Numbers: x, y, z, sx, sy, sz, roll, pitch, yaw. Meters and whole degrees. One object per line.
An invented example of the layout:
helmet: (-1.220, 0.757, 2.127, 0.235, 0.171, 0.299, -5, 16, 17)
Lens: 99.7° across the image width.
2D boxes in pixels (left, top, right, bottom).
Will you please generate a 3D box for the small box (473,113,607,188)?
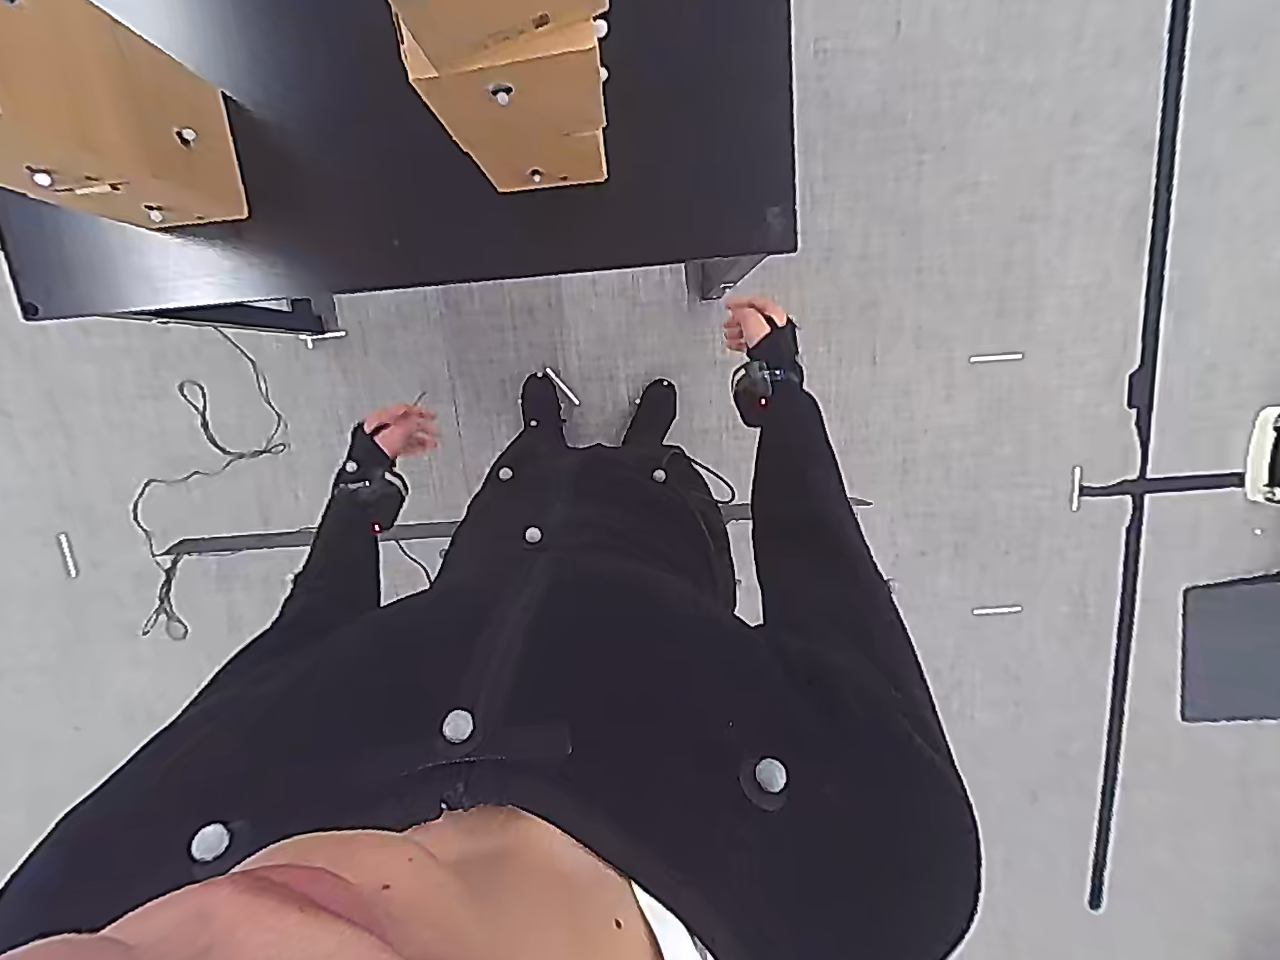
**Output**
small box: (-0.136, -0.508, 0.704, 0.168, 0.176, 0.179, -6, 102, 1)

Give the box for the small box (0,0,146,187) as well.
small box: (-0.668, -0.424, 0.547, 0.168, 0.176, 0.179, -6, 102, 1)

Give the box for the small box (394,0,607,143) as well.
small box: (-0.134, -0.469, 0.544, 0.179, 0.176, 0.168, -9, 102, 1)

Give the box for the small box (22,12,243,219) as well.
small box: (-0.670, -0.455, 0.709, 0.168, 0.176, 0.179, -7, 102, 1)
